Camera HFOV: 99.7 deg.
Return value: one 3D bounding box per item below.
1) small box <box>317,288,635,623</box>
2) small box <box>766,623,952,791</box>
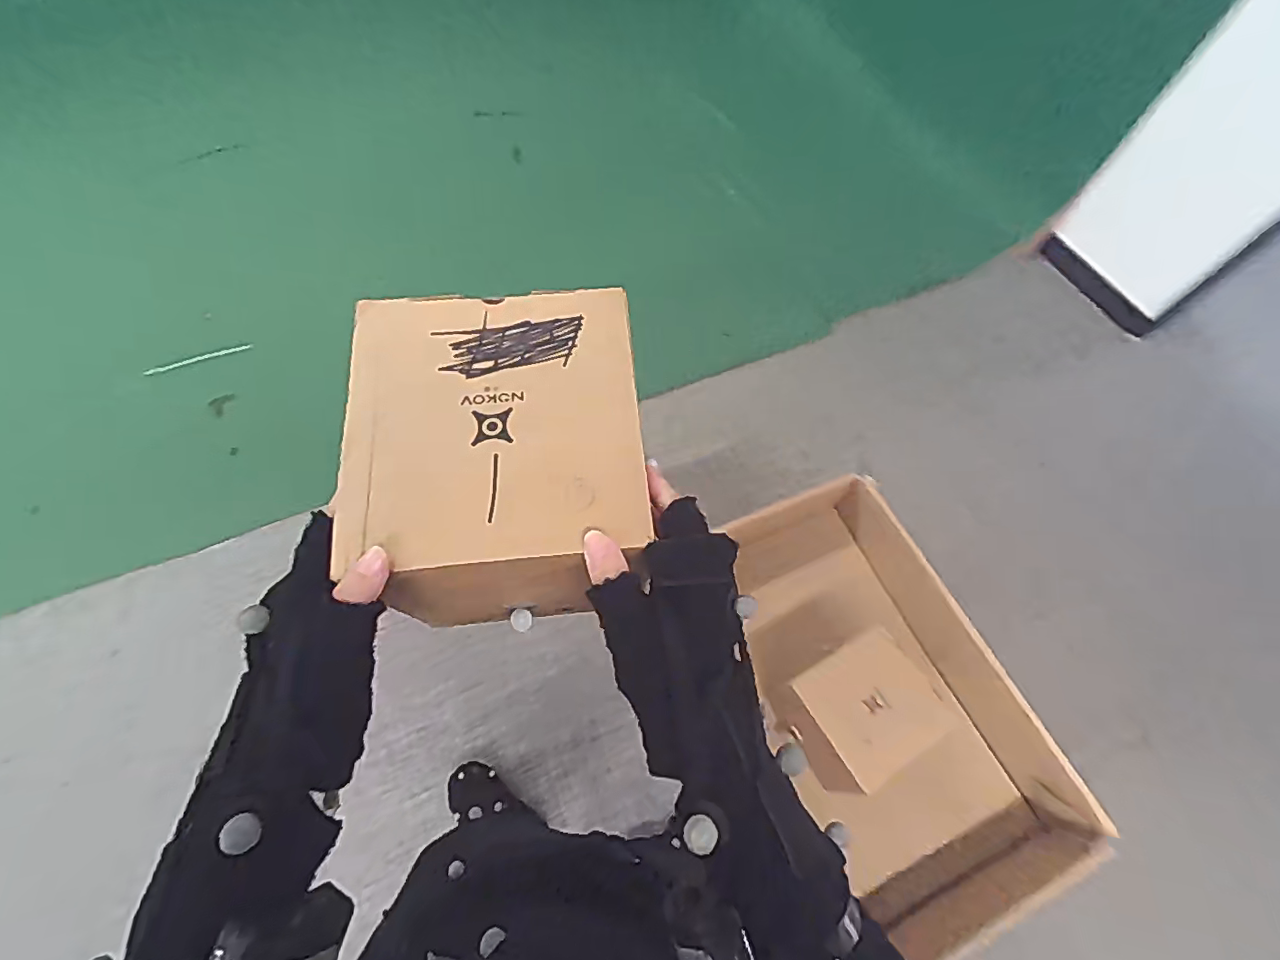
[{"bbox_3d":[-0.097,-0.008,0.388,0.168,0.176,0.179,-6,67,-4],"label":"small box"},{"bbox_3d":[0.323,0.350,0.837,0.179,0.176,0.168,-27,66,-14],"label":"small box"}]
